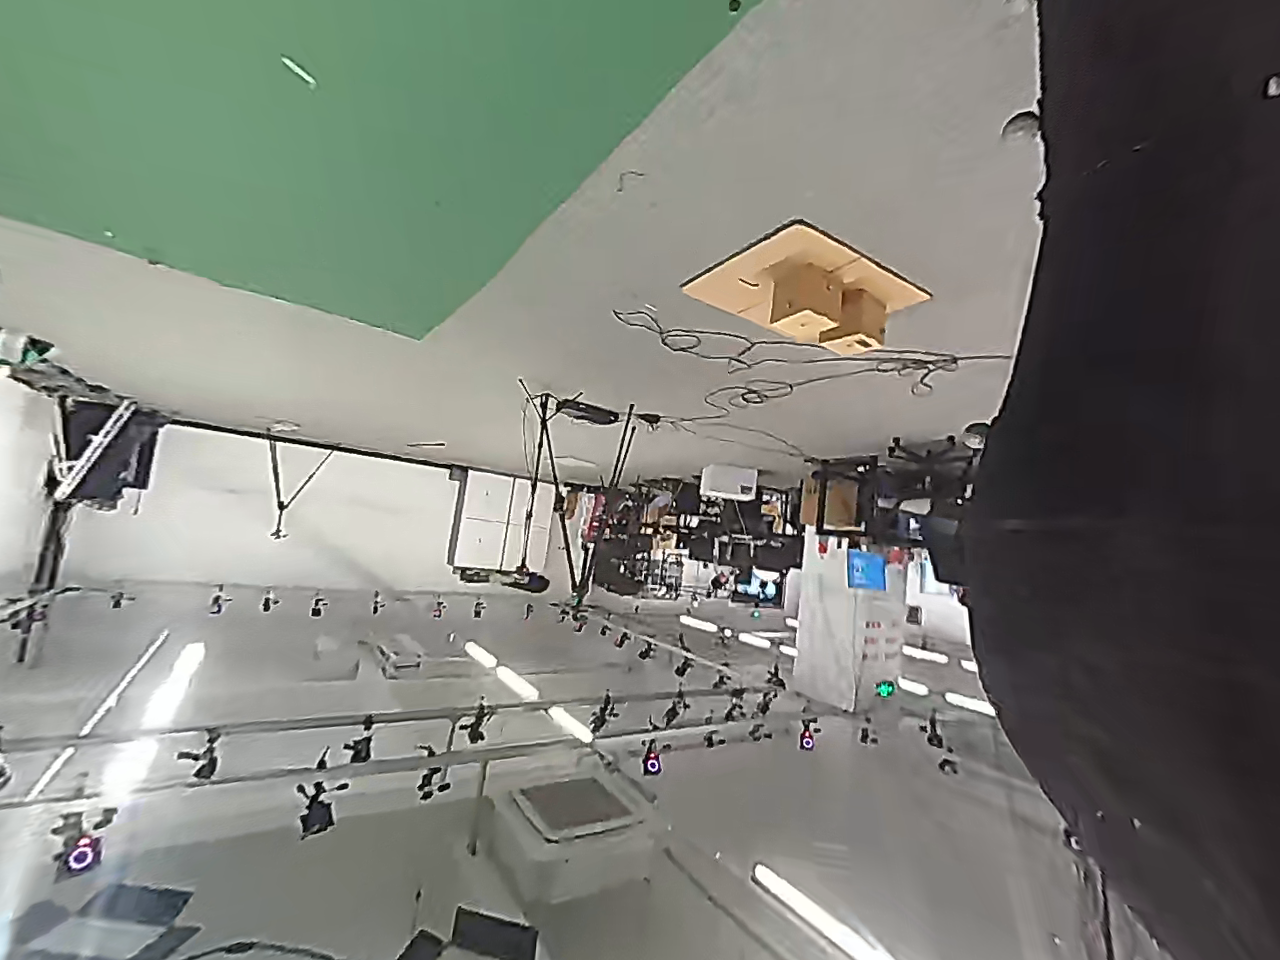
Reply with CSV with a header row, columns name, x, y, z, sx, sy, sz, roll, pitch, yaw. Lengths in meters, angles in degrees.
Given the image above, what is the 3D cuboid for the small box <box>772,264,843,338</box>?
name,x,y,z,sx,sy,sz,roll,pitch,yaw
small box,0.592,-0.625,1.899,0.168,0.176,0.179,11,171,-29
